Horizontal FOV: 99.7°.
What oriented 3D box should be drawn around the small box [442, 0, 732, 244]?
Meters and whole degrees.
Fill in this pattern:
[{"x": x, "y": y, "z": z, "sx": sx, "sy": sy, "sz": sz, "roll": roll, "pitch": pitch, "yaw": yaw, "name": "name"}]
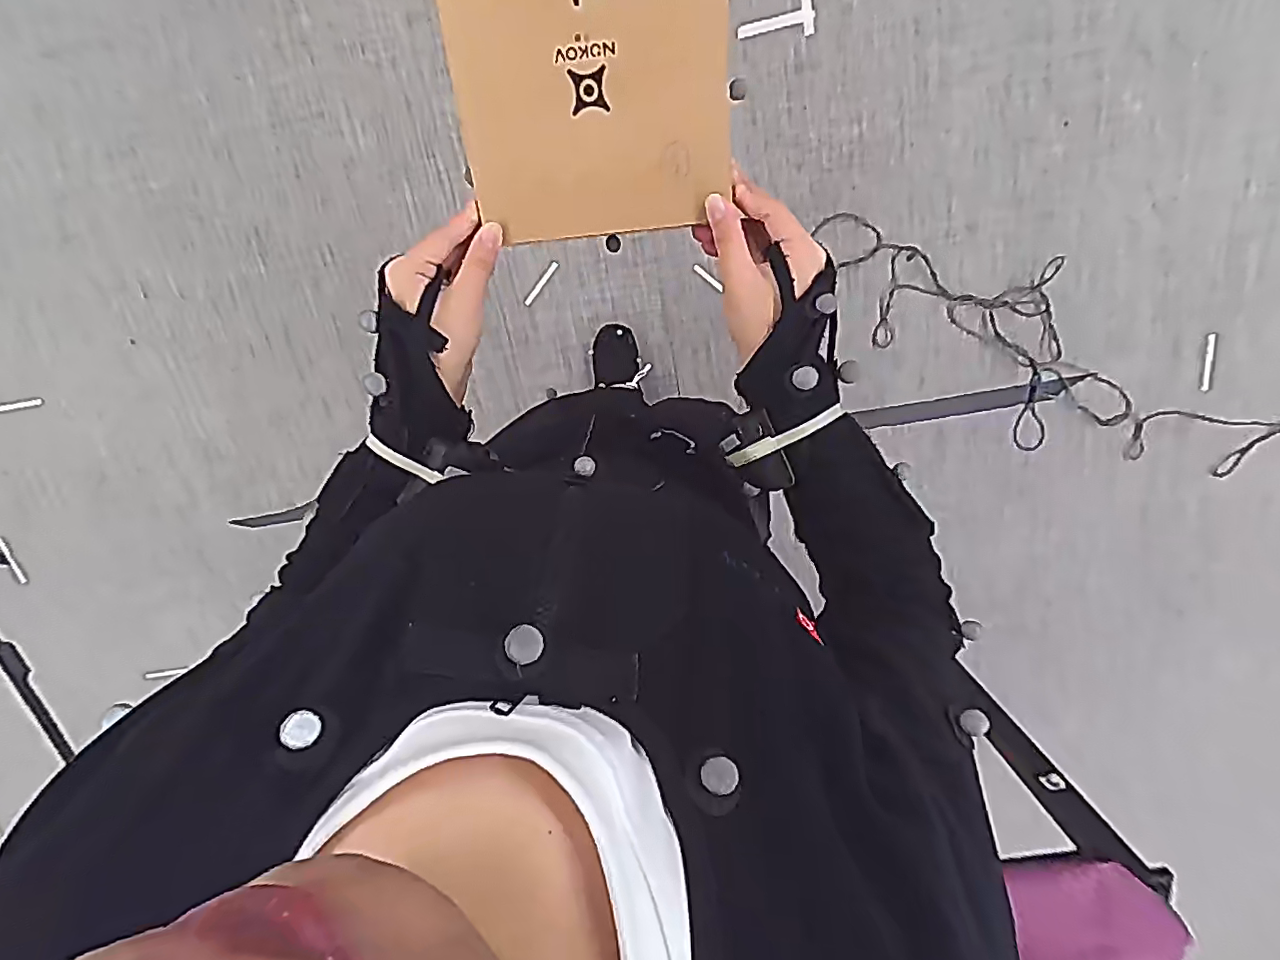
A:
[{"x": -0.023, "y": -0.276, "z": 0.389, "sx": 0.168, "sy": 0.176, "sz": 0.179, "roll": -4, "pitch": 115, "yaw": 5, "name": "small box"}]
